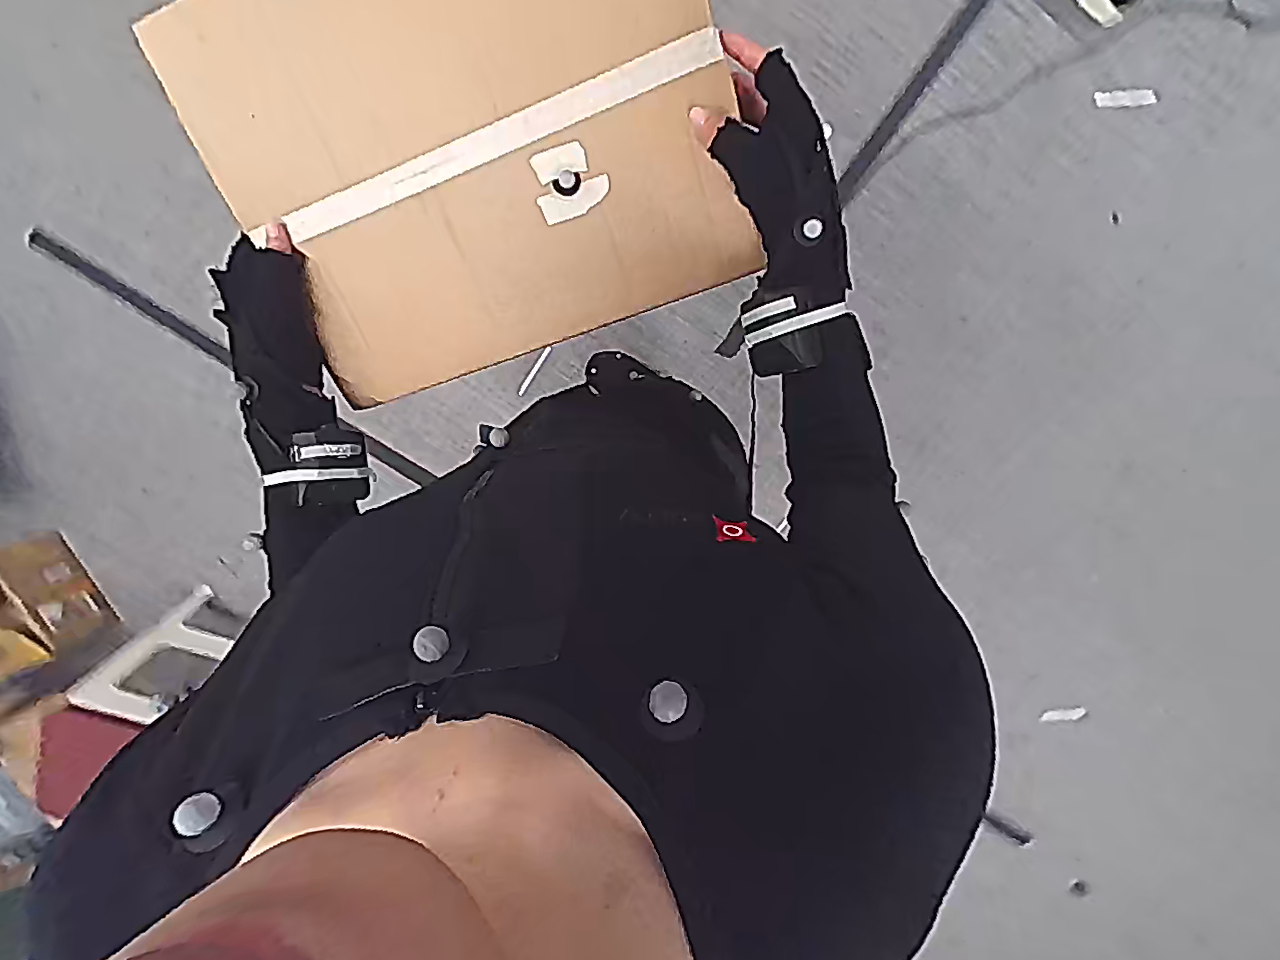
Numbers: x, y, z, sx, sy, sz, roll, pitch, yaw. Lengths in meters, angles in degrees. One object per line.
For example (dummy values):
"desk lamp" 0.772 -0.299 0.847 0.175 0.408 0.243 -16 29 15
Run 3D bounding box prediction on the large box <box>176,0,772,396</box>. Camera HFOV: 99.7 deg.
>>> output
"large box" -0.117 -0.325 0.567 0.408 0.320 0.320 -16 113 9
